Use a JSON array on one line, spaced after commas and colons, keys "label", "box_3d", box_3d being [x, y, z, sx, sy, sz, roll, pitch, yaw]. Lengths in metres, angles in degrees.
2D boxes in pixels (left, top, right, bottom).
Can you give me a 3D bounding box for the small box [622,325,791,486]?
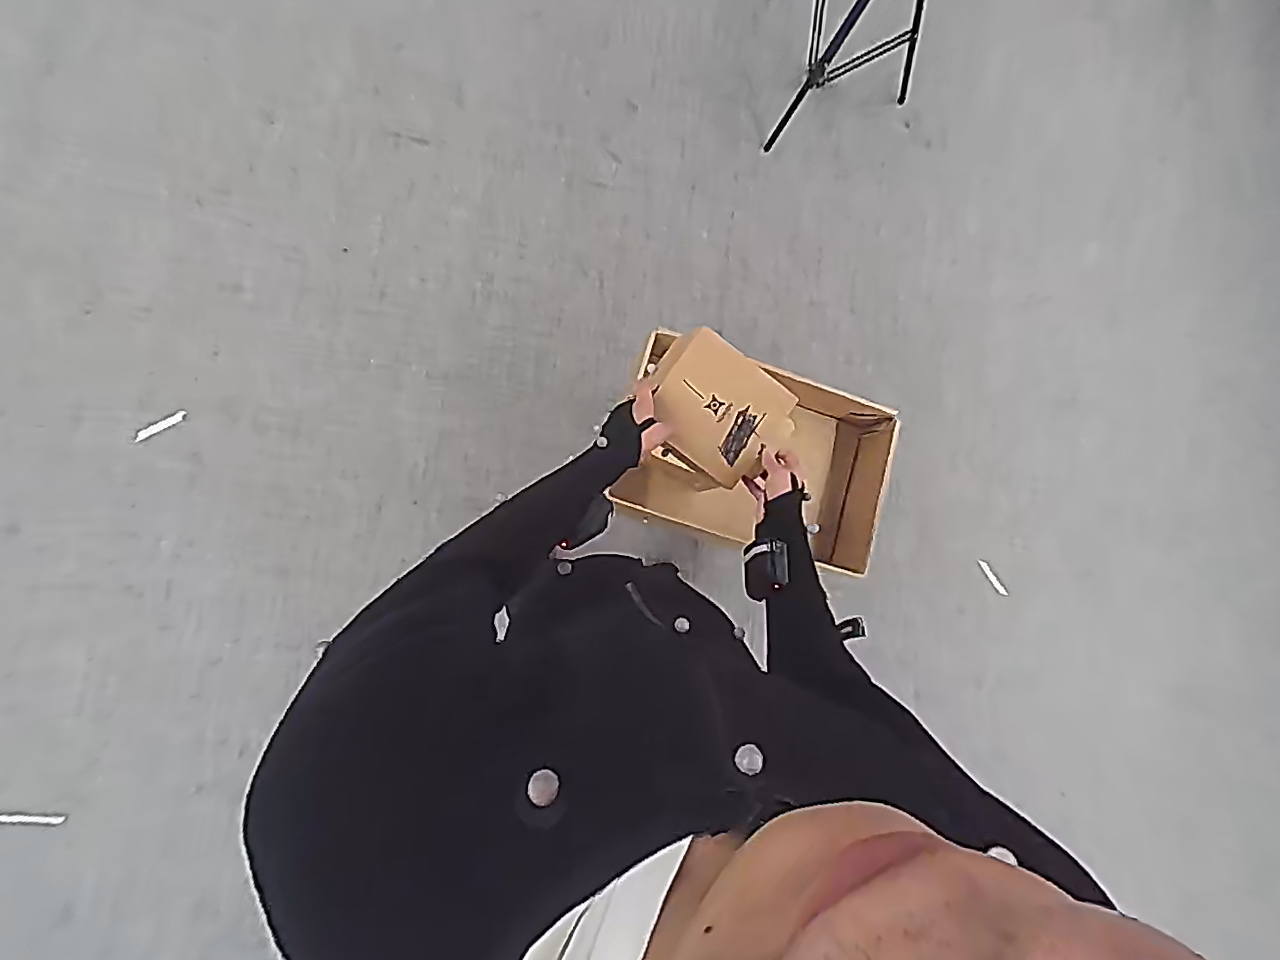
[{"label": "small box", "box_3d": [0.093, -0.116, 0.843, 0.179, 0.176, 0.168, 36, 91, -12]}]
